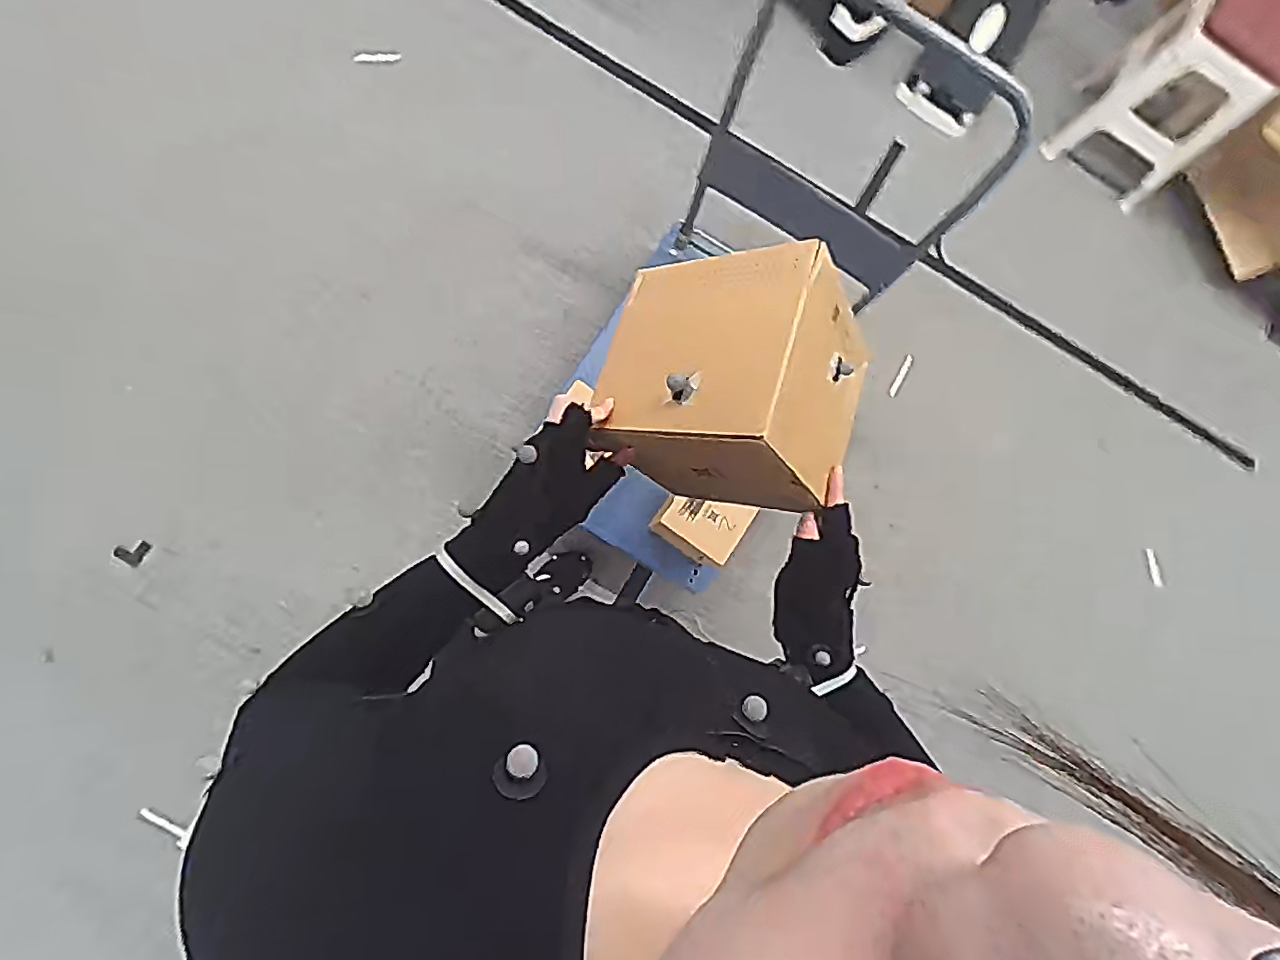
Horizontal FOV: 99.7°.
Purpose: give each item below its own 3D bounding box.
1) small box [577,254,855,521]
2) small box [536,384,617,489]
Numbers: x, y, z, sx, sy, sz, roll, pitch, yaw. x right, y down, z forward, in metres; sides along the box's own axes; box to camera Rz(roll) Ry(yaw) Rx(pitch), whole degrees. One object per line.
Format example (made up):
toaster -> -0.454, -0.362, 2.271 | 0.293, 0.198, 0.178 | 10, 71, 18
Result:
small box -> 0.078, -0.077, 0.497 | 0.179, 0.168, 0.176 | 5, 72, 37
small box -> -0.124, -0.093, 1.281 | 0.179, 0.176, 0.168 | 36, 78, 0
